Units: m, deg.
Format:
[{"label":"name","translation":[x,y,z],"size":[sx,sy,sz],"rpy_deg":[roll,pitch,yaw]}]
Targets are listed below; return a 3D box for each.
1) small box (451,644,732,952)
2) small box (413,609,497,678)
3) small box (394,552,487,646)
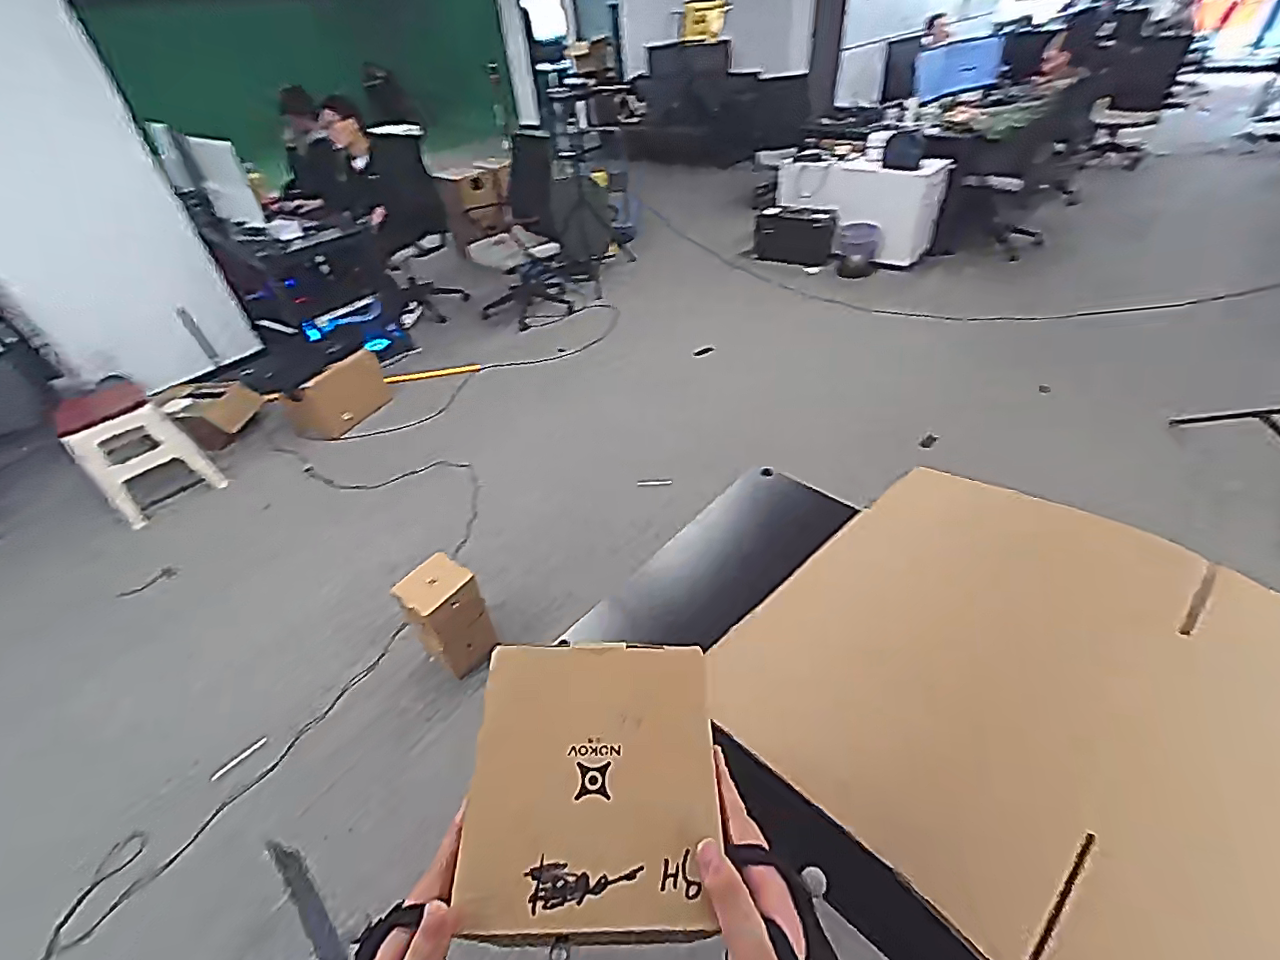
[{"label":"small box","translation":[-0.034,0.248,0.425],"size":[0.168,0.176,0.179],"rpy_deg":[0,47,-3]},{"label":"small box","translation":[-0.570,0.480,1.699],"size":[0.168,0.176,0.179],"rpy_deg":[25,50,31]},{"label":"small box","translation":[-0.580,0.354,1.596],"size":[0.168,0.176,0.179],"rpy_deg":[24,48,29]}]
